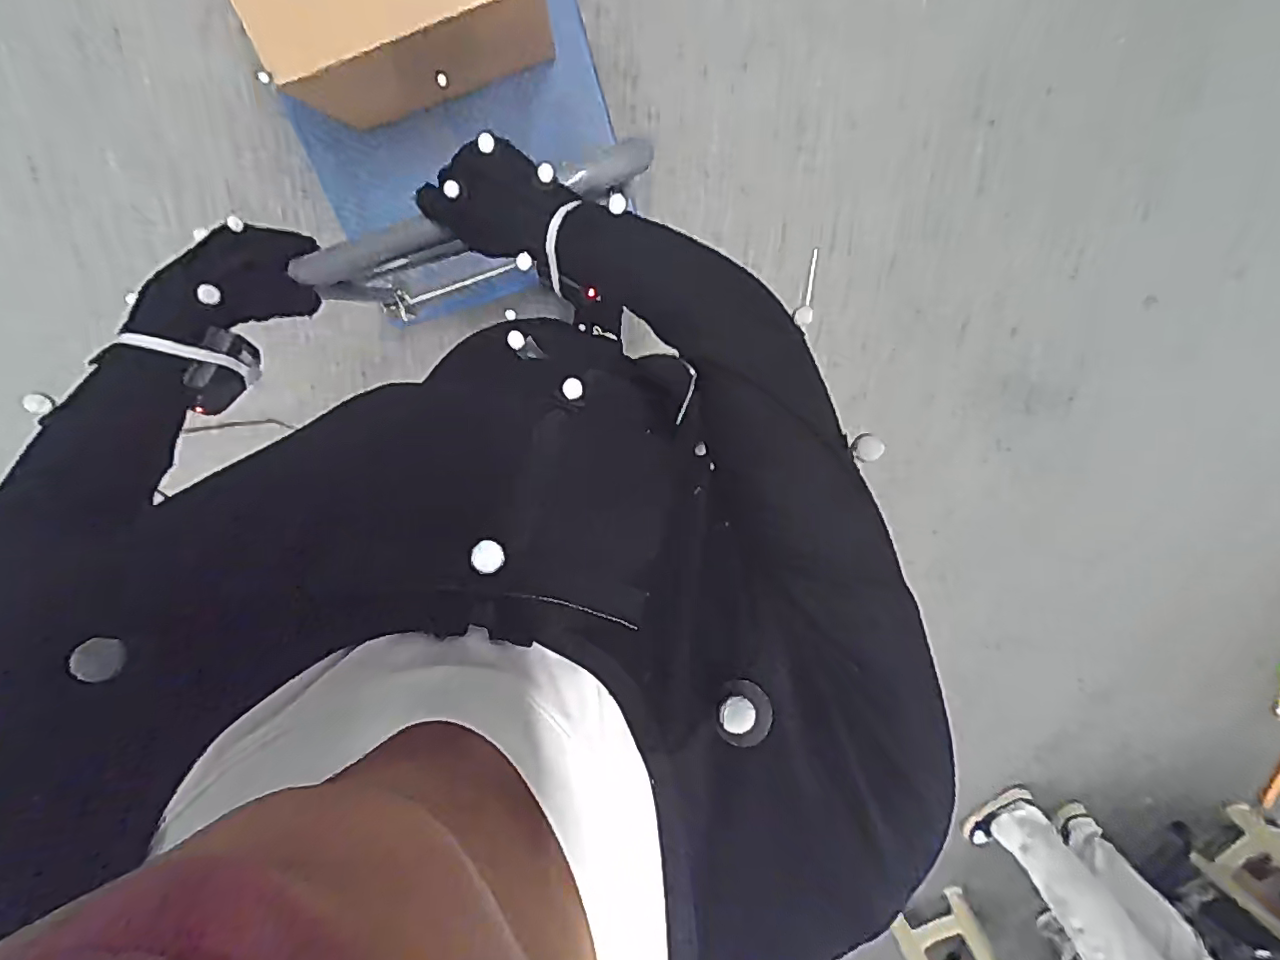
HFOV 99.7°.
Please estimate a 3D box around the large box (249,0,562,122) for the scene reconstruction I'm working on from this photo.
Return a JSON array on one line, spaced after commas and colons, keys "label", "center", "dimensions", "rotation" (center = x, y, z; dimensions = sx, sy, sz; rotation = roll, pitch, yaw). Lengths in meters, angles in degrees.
[{"label": "large box", "center": [-0.367, -0.816, 0.825], "dimensions": [0.408, 0.320, 0.320], "rotation": [-19, 113, 4]}]
